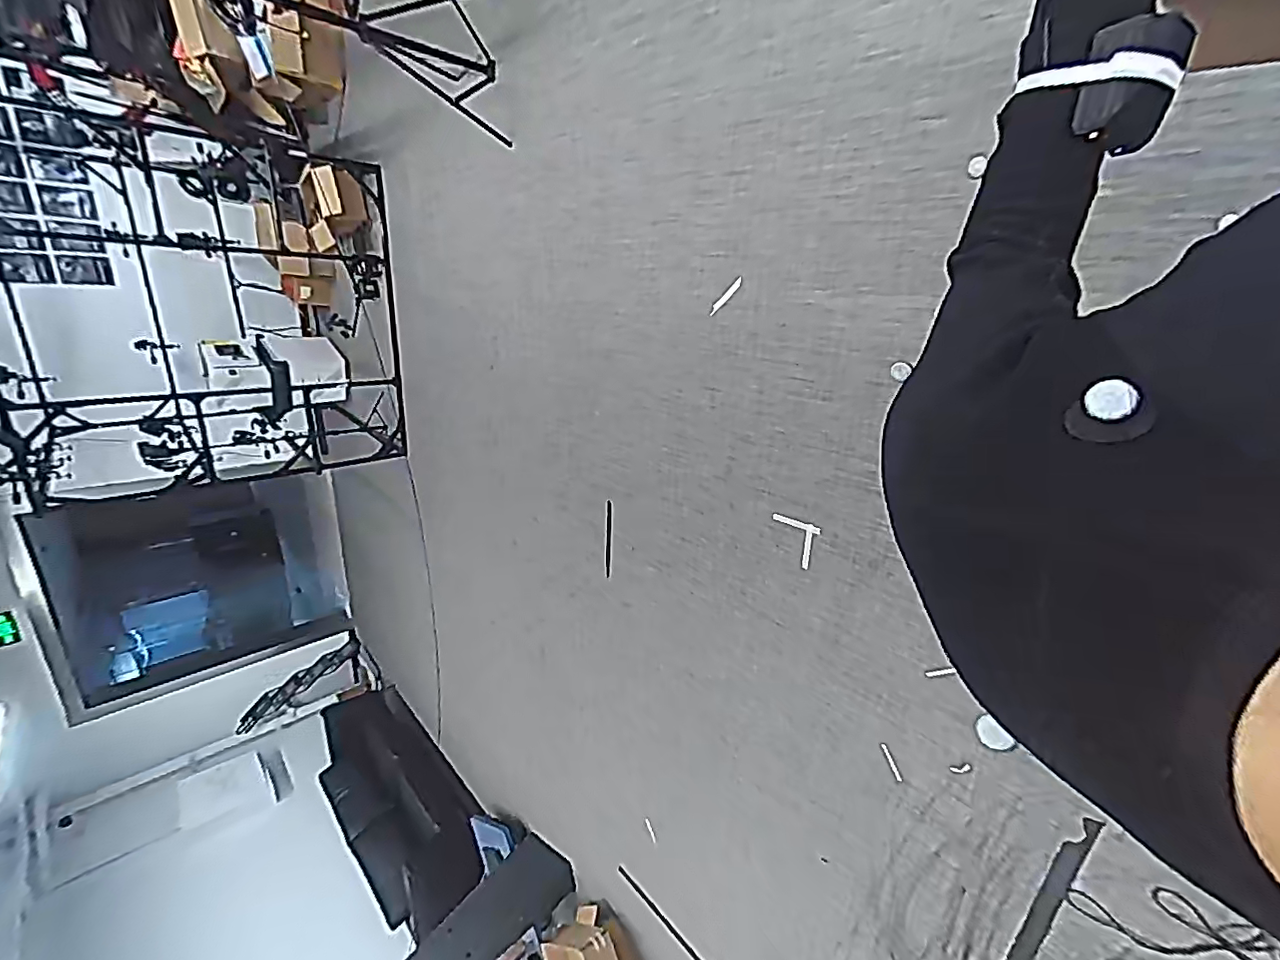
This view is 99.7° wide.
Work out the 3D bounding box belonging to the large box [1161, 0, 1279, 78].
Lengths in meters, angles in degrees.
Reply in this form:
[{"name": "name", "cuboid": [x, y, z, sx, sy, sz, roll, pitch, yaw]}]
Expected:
[{"name": "large box", "cuboid": [0.571, -0.439, 0.255, 0.408, 0.320, 0.320, 23, 124, 40]}]
